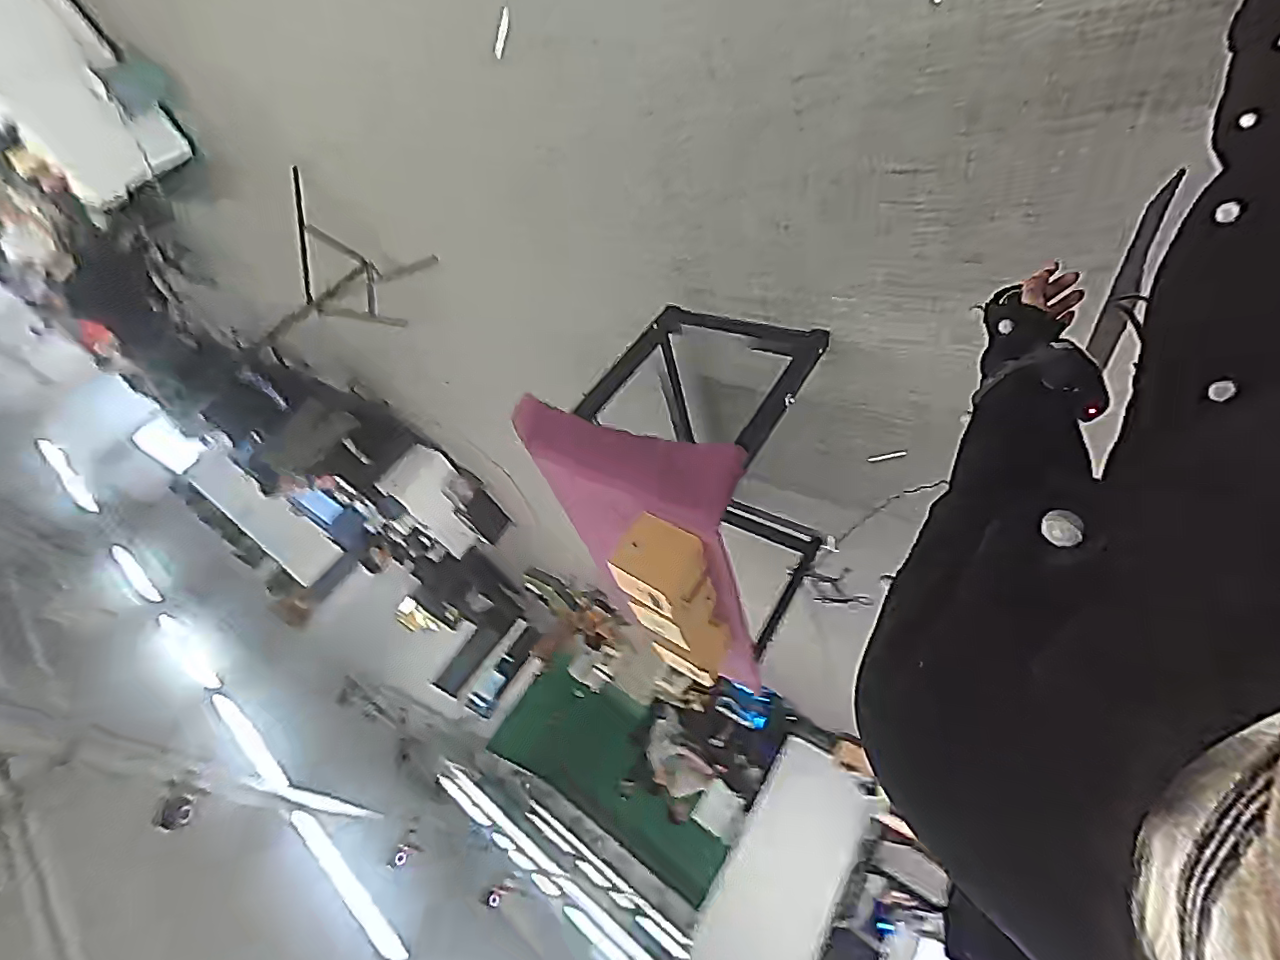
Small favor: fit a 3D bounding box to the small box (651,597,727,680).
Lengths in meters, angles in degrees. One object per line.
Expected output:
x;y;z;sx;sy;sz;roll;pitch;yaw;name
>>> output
0.169;0.509;1.751;0.179;0.176;0.168;20;151;34;small box
